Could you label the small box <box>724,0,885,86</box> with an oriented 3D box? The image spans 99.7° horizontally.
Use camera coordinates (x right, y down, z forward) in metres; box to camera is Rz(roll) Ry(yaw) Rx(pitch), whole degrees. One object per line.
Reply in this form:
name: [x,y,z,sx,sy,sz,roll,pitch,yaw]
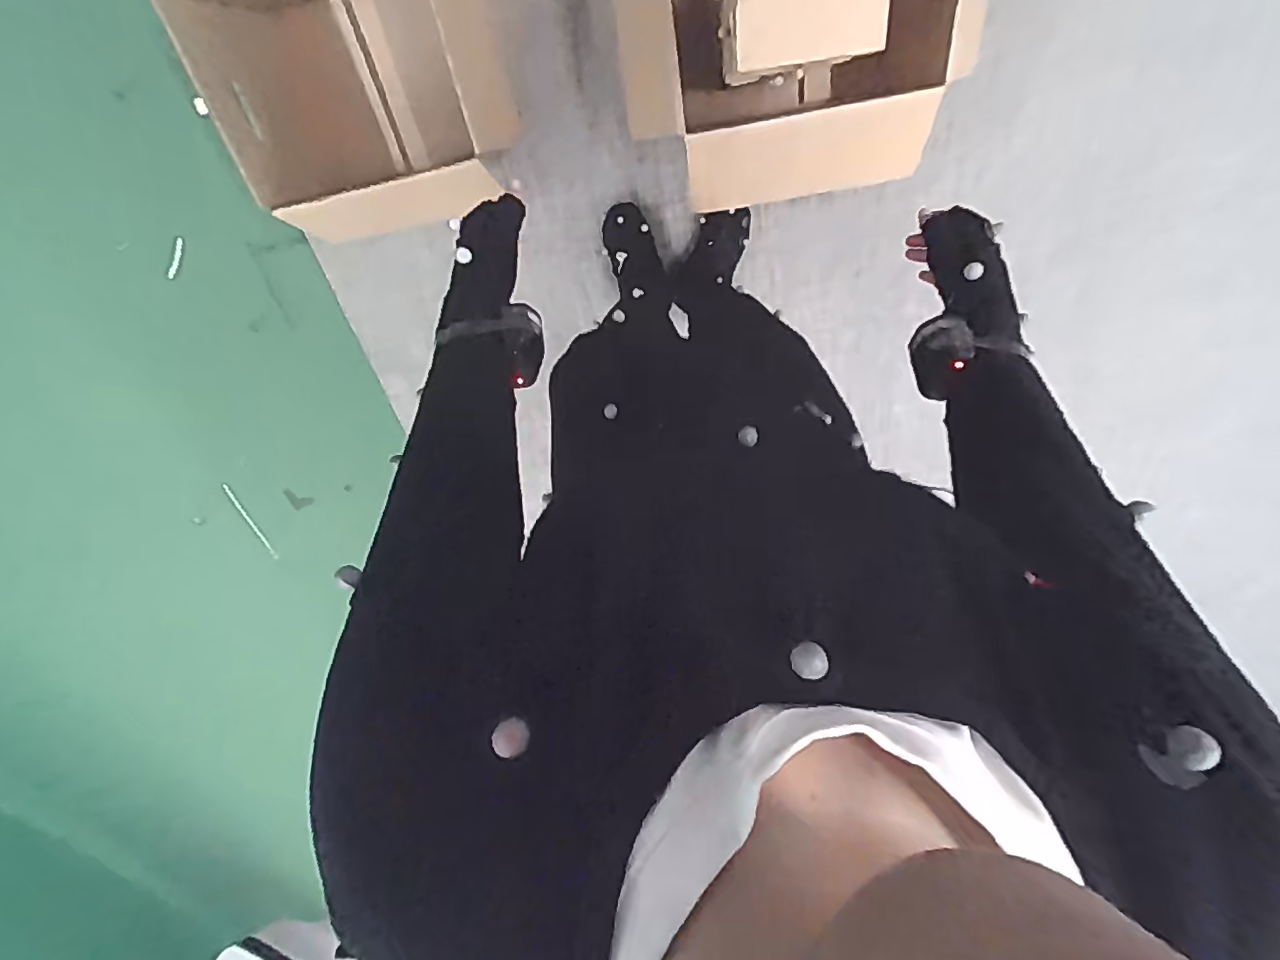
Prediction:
small box: [0.196,-0.608,0.678,0.179,0.176,0.168,-6,125,8]
